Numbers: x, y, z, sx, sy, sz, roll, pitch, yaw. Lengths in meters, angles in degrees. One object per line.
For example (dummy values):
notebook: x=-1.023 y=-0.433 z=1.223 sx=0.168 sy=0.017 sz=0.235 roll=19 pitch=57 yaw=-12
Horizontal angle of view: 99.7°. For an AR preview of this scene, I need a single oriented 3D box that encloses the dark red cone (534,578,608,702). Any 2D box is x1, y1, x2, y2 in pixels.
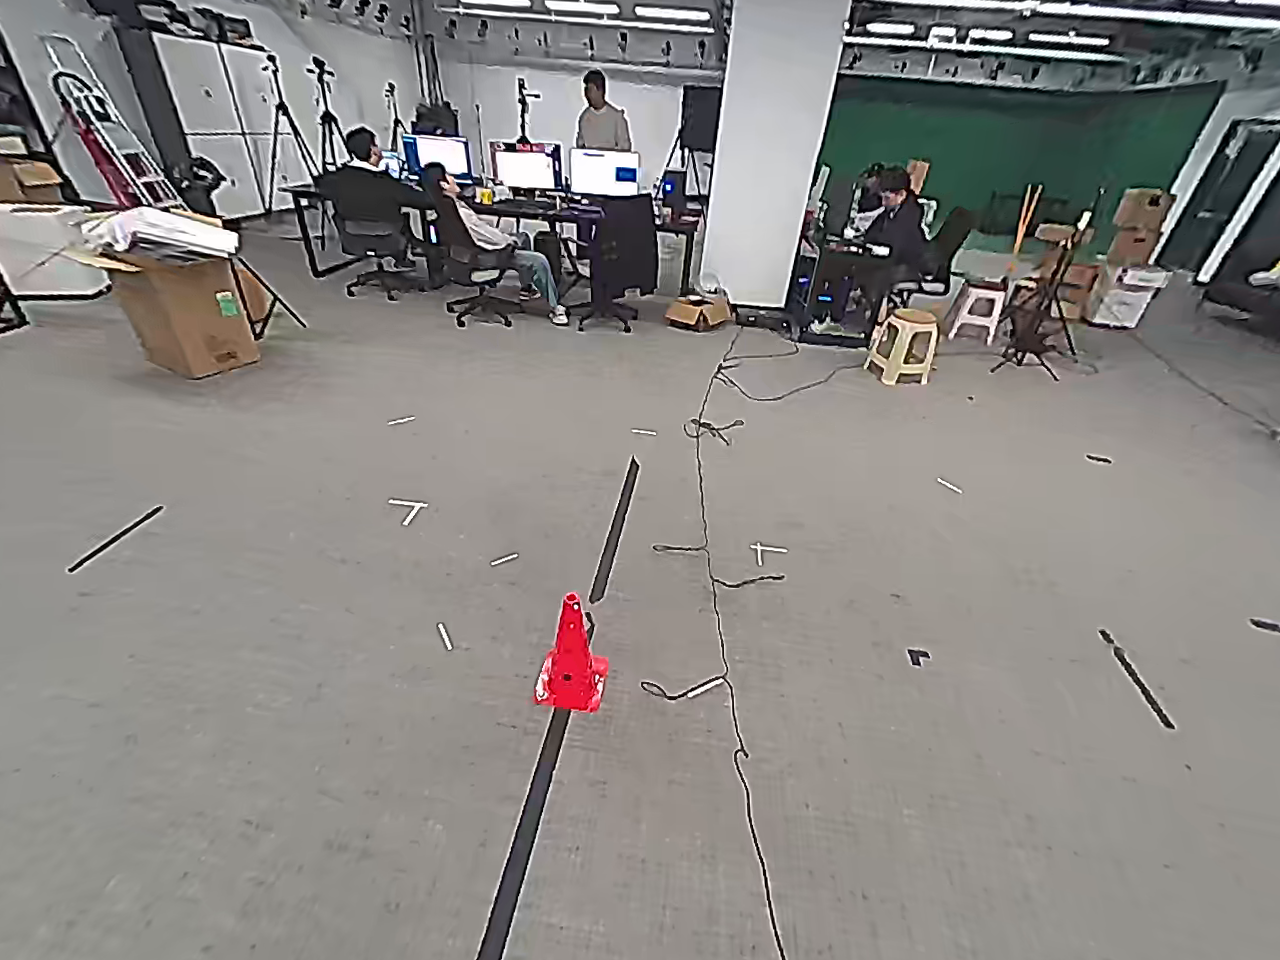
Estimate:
dark red cone: x=-0.192 y=0.441 z=1.557 sx=0.201 sy=0.394 sz=0.202 roll=8 pitch=33 yaw=3
